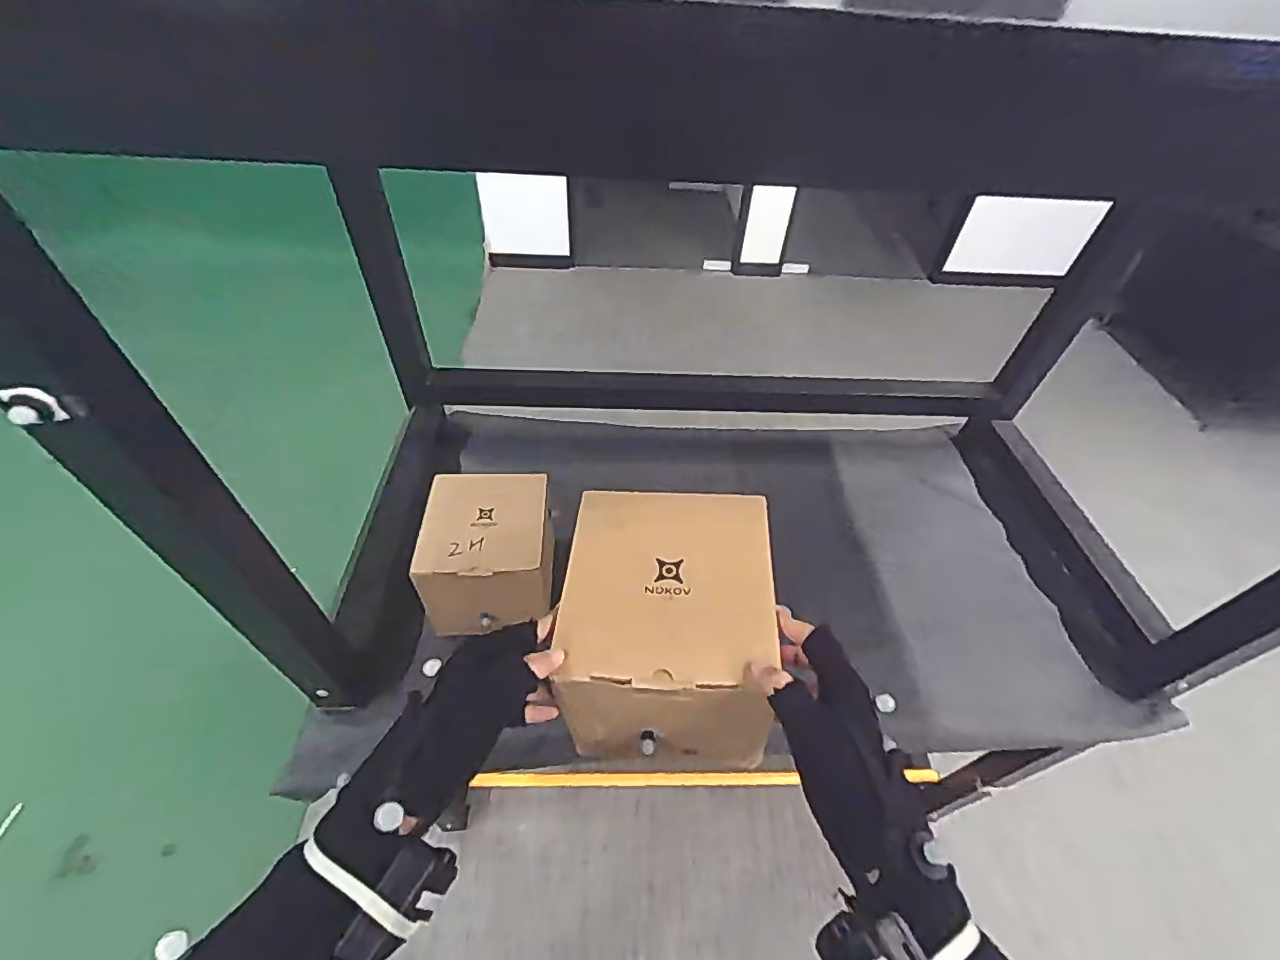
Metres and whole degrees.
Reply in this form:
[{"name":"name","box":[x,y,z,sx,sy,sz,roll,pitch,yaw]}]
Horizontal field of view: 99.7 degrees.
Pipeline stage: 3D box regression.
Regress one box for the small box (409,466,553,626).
[{"name":"small box","box":[-0.220,0.098,0.802,0.168,0.176,0.179,-1,48,-4]}]
